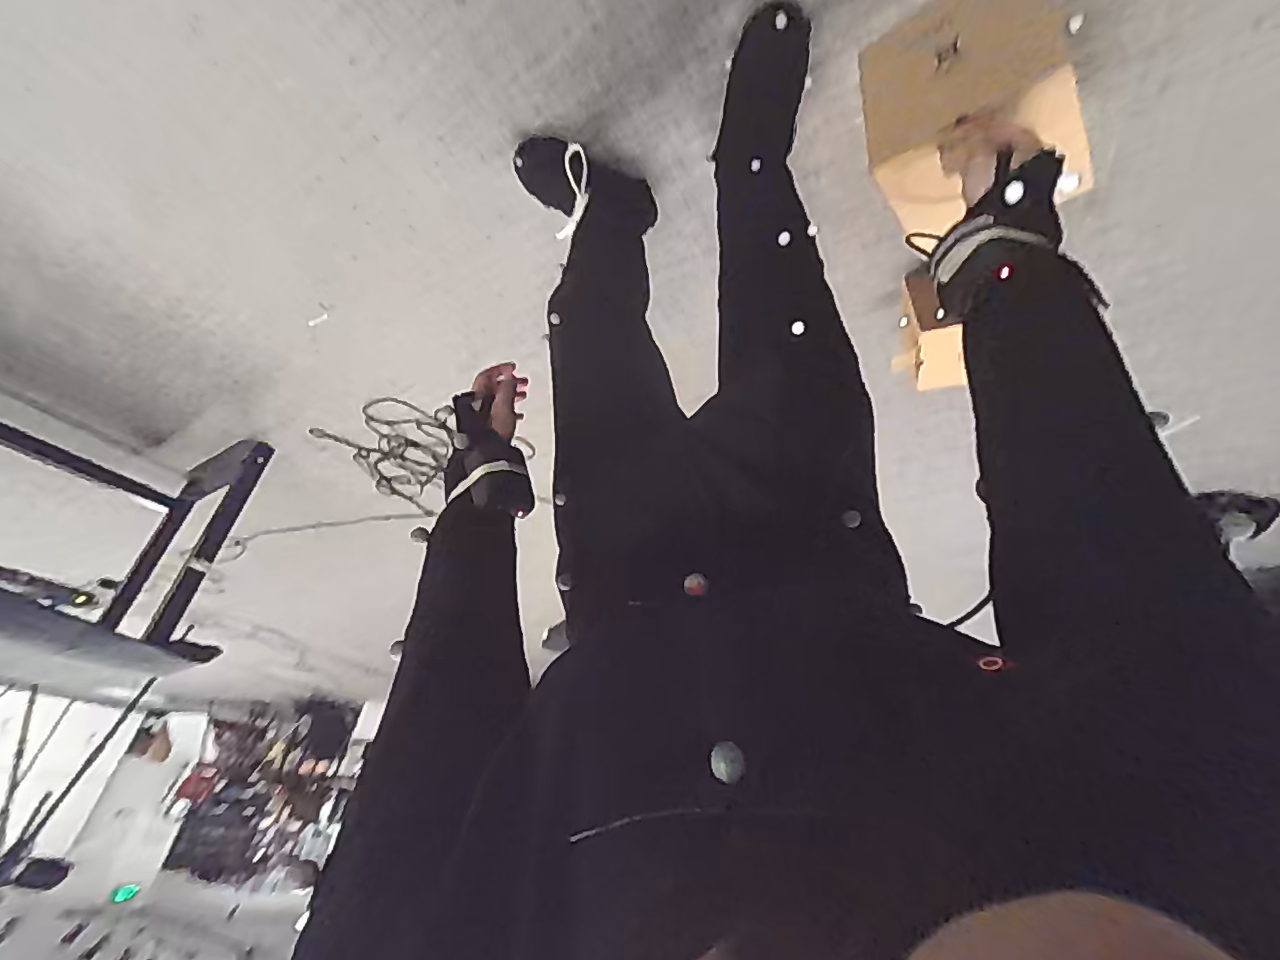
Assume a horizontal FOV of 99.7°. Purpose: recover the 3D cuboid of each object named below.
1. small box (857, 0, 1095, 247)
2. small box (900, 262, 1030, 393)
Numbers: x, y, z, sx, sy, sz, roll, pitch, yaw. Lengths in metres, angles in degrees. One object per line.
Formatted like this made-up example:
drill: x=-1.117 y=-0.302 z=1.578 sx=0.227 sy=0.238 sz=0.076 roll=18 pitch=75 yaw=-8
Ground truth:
small box: x=0.346 y=-0.374 z=0.562 sx=0.168 sy=0.179 sz=0.176 roll=-14 pitch=158 yaw=41
small box: x=0.628 y=-0.301 z=1.068 sx=0.179 sy=0.176 sz=0.168 roll=-8 pitch=144 yaw=20
